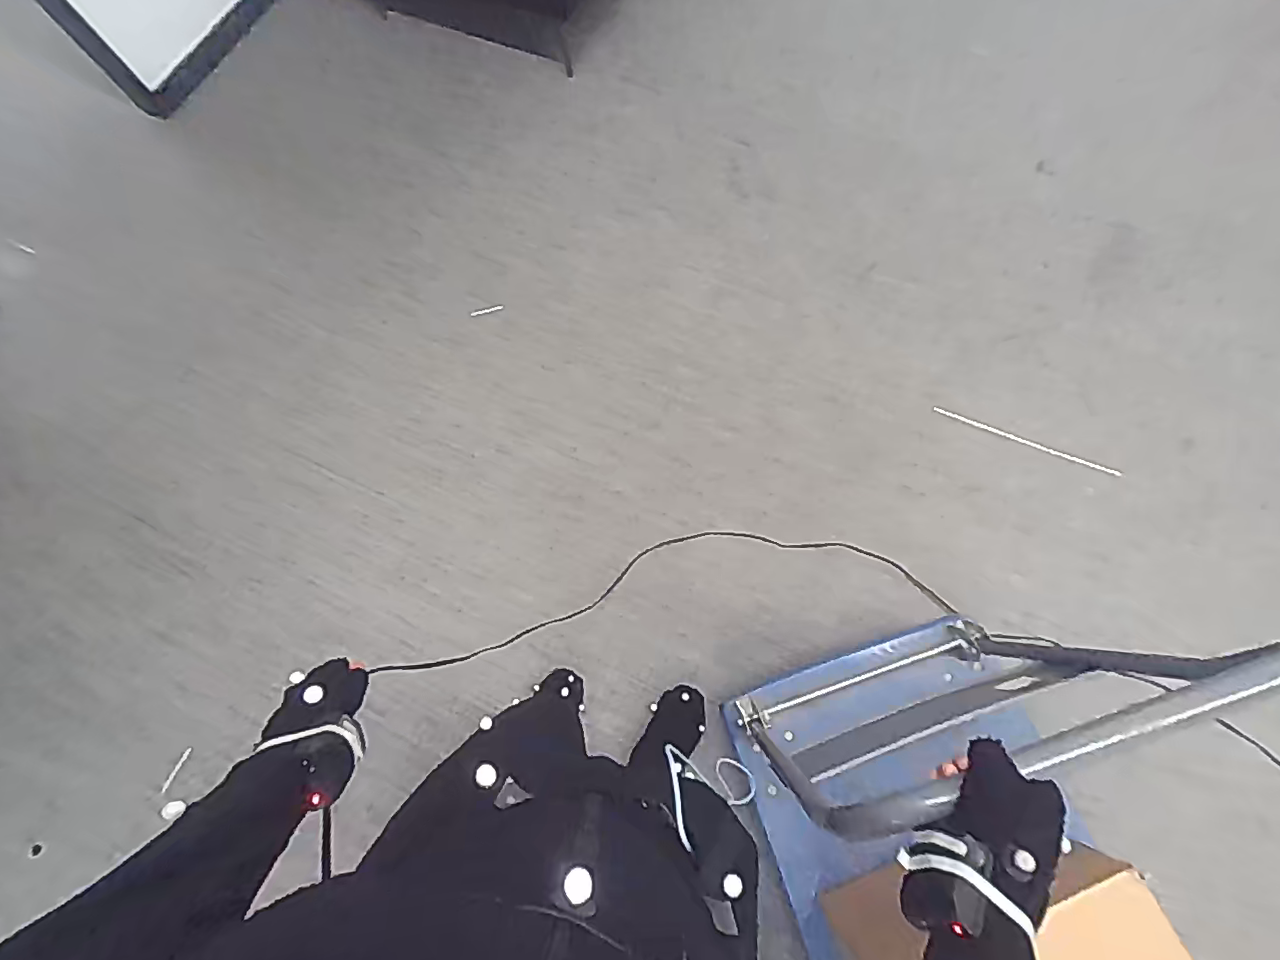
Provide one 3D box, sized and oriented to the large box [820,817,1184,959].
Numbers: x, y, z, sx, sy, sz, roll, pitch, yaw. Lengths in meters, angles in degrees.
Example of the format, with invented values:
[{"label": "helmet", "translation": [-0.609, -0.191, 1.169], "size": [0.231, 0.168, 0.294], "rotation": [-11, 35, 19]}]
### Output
[{"label": "large box", "translation": [0.561, 0.797, 0.829], "size": [0.408, 0.320, 0.320], "rotation": [-22, 72, -6]}]
